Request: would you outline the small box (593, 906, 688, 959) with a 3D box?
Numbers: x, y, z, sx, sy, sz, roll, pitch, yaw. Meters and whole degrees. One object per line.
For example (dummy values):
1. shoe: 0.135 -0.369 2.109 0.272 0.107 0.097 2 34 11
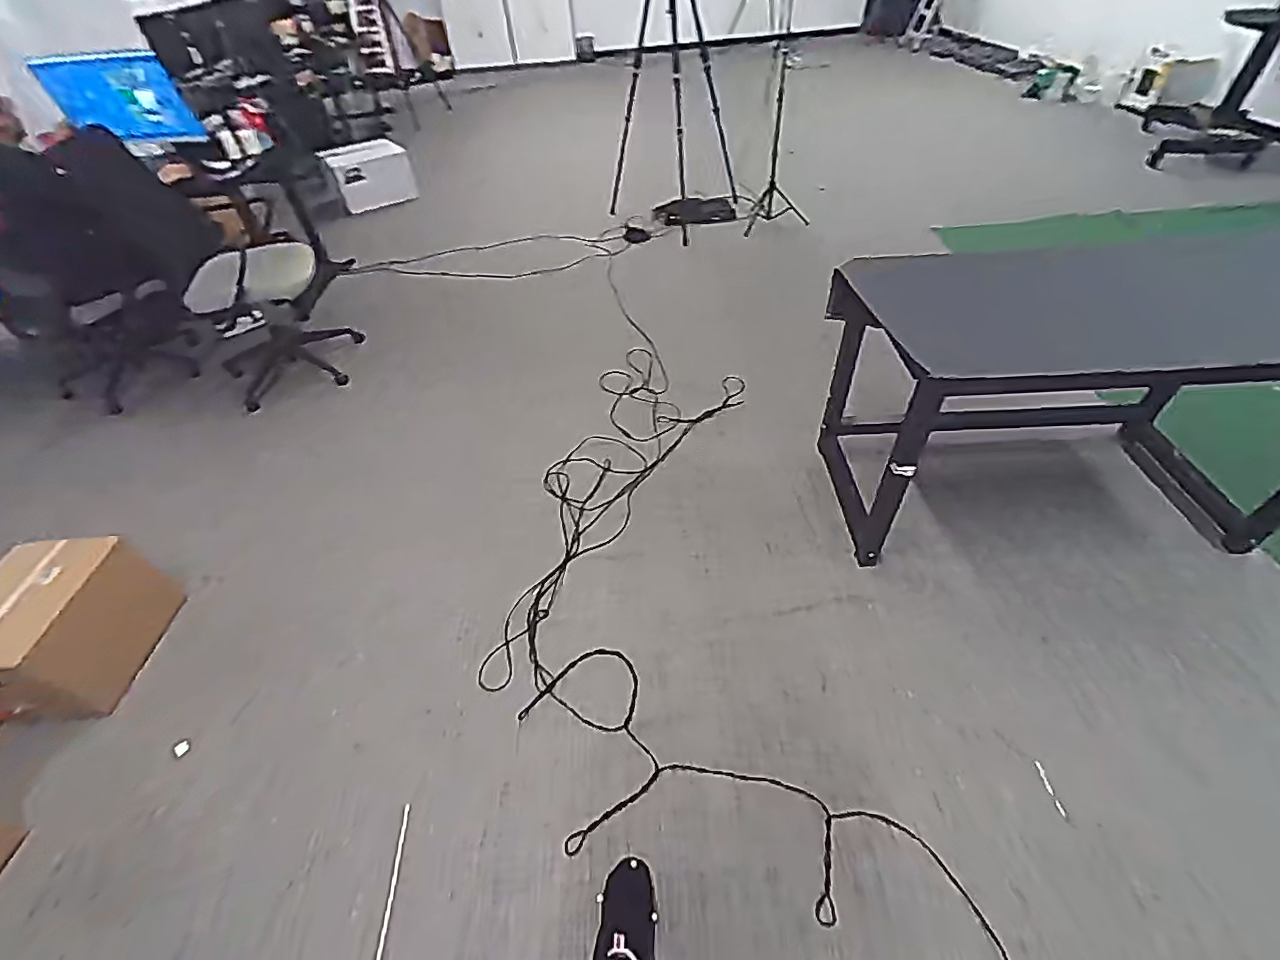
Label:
1. small box: -0.009 0.965 1.031 0.168 0.176 0.179 23 62 8
